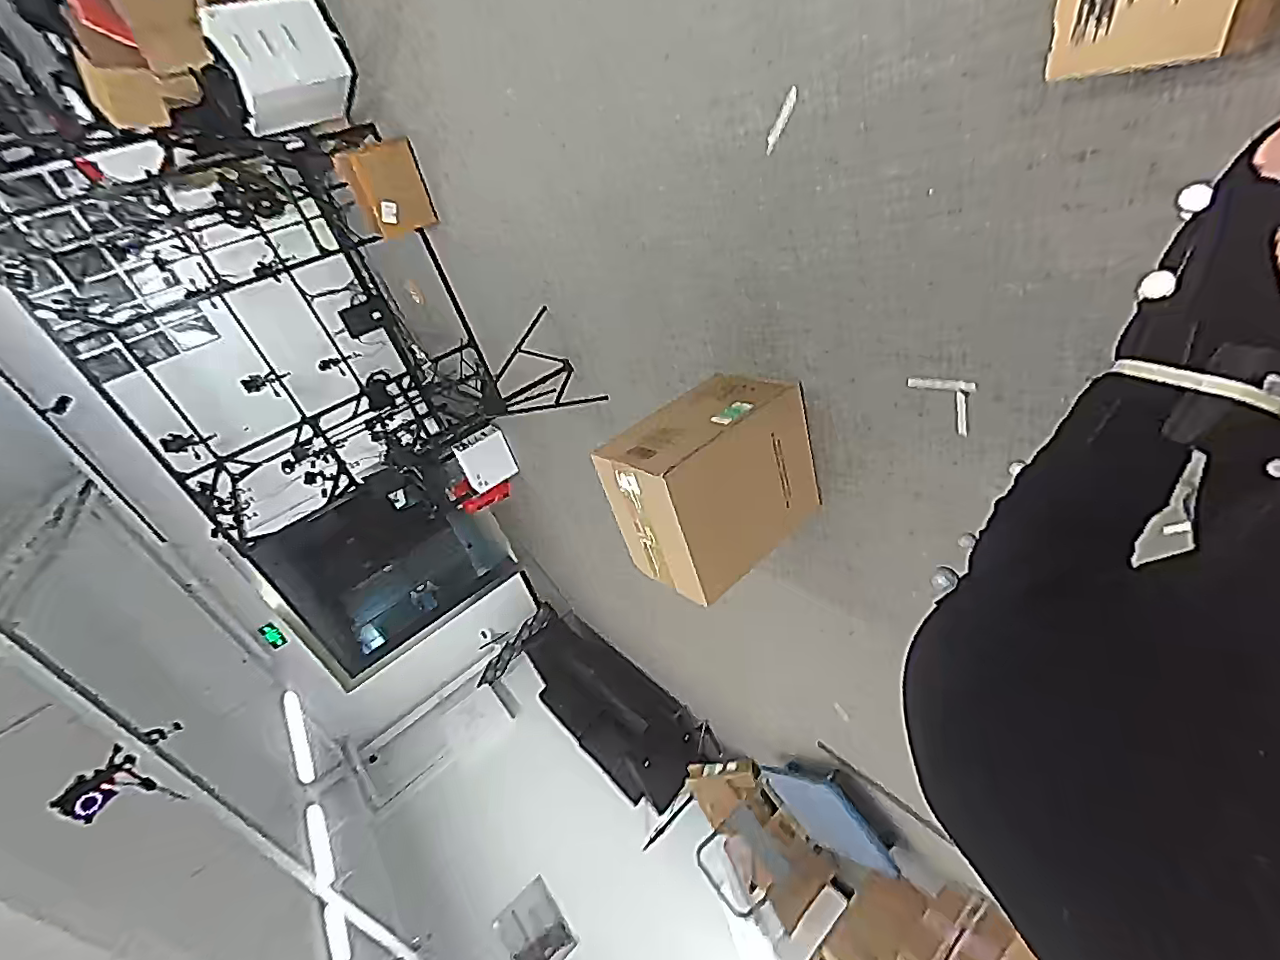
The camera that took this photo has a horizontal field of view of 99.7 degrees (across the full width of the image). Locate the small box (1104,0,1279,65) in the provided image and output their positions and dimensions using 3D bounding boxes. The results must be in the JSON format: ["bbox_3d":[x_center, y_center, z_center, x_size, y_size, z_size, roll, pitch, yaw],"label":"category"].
[{"bbox_3d":[0.764,-0.680,0.709,0.168,0.176,0.179,30,147,45],"label":"small box"}]
